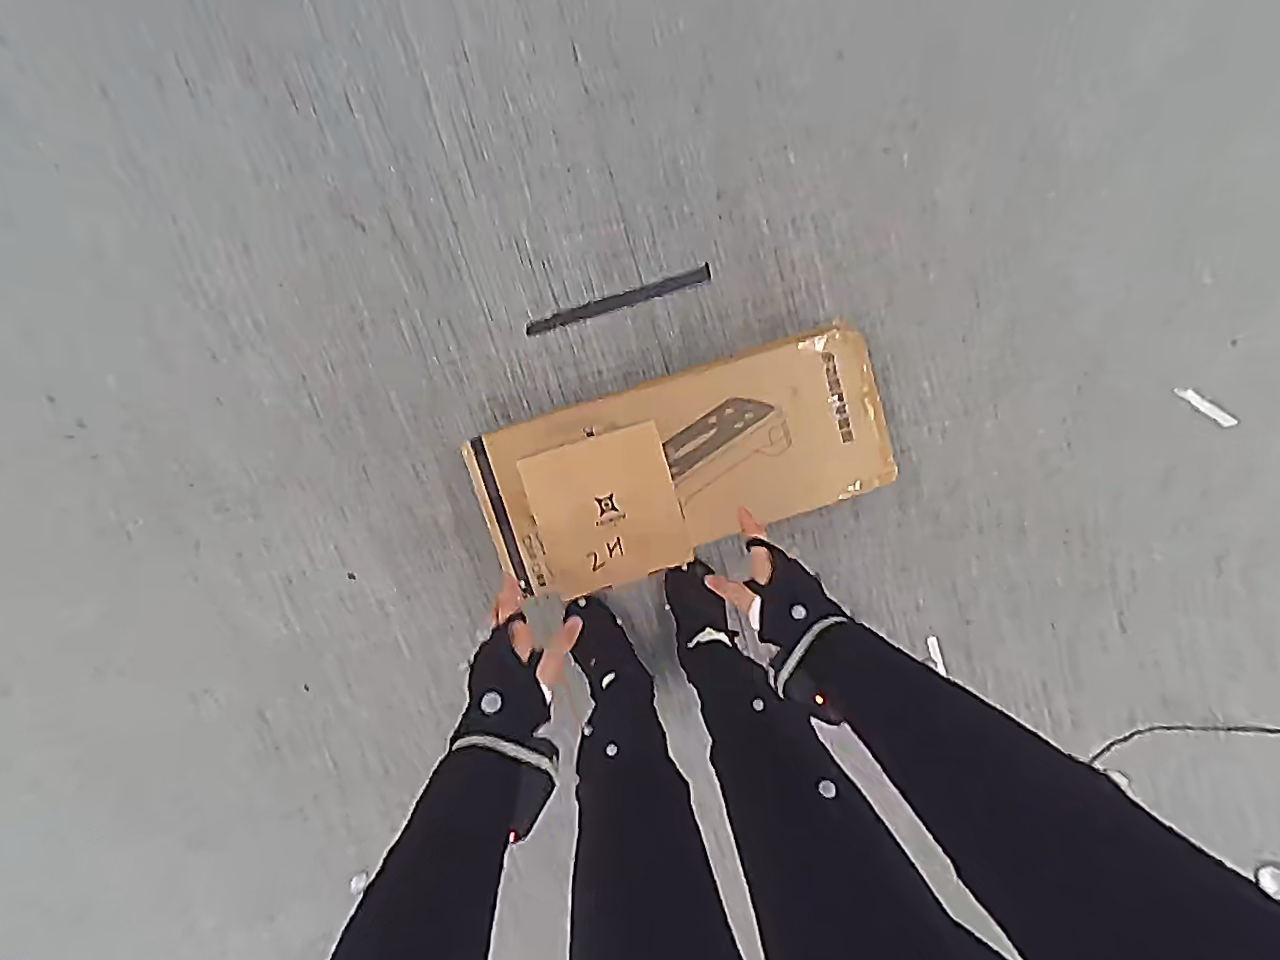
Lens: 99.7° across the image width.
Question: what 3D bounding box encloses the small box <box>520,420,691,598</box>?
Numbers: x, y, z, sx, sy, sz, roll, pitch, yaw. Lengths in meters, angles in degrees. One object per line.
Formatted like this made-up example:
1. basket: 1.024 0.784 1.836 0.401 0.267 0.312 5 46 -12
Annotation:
1. small box: -0.047 0.028 0.709 0.168 0.176 0.179 -17 97 -3
